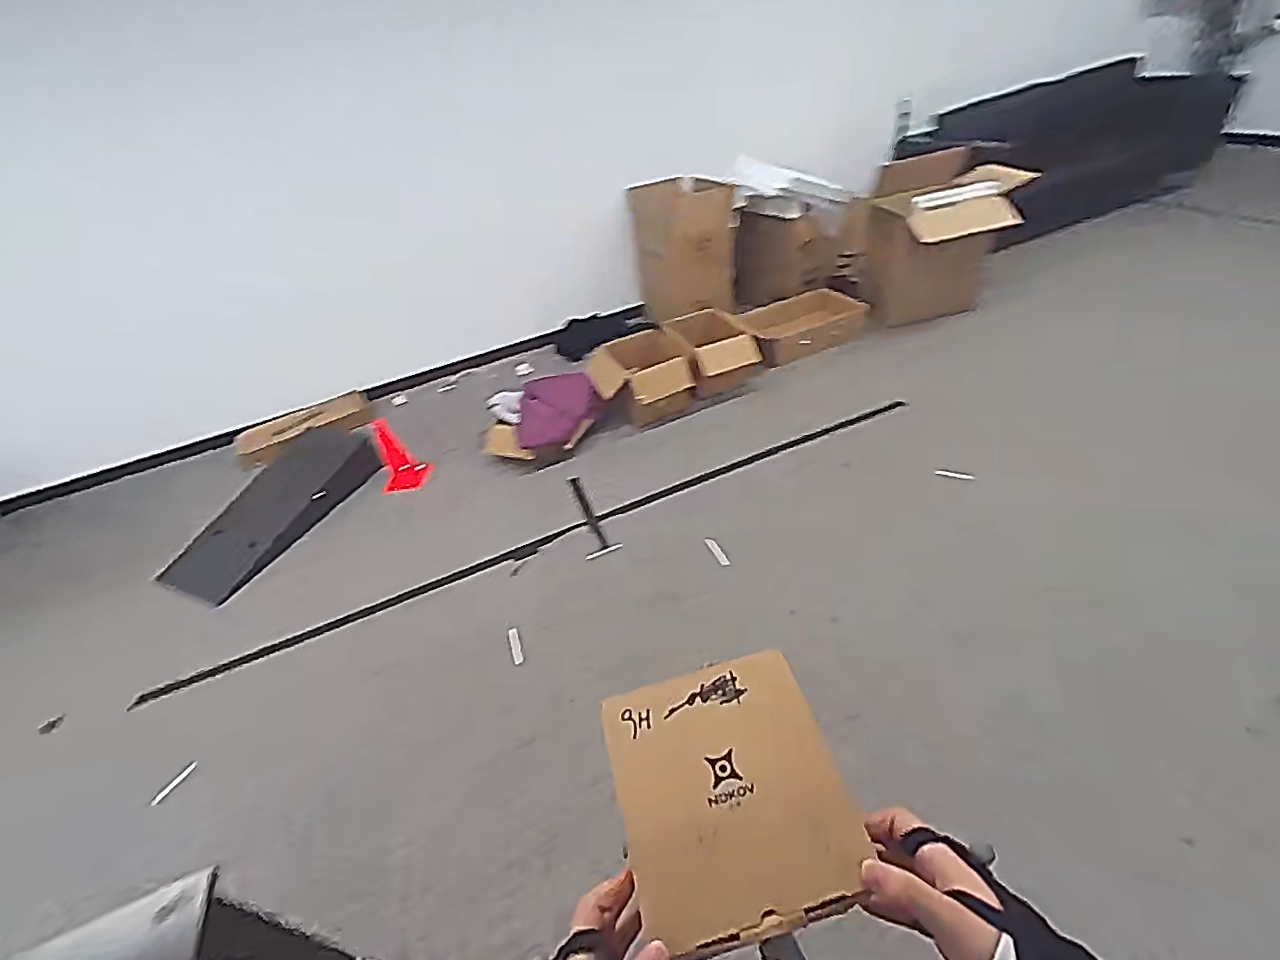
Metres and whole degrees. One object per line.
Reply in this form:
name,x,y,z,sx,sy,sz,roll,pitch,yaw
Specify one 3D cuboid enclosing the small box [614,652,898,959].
small box,0.085,0.281,0.465,0.168,0.176,0.179,-14,48,-4
